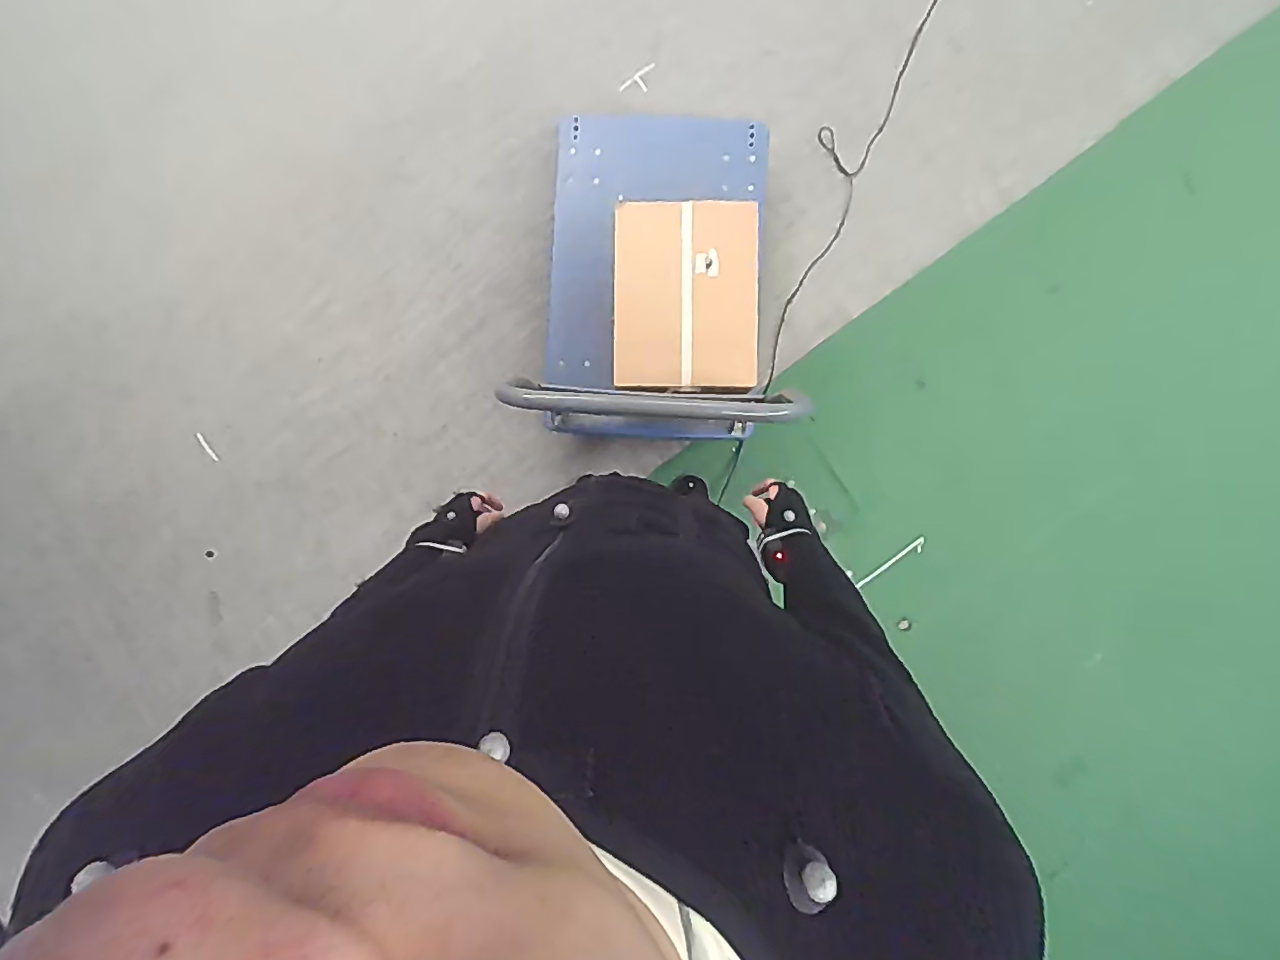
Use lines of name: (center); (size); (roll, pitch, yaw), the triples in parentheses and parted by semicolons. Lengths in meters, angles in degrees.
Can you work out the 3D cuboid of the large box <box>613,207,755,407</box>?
large box: (0.101, -0.400, 1.341); (0.320, 0.320, 0.408); (1, 89, 0)
